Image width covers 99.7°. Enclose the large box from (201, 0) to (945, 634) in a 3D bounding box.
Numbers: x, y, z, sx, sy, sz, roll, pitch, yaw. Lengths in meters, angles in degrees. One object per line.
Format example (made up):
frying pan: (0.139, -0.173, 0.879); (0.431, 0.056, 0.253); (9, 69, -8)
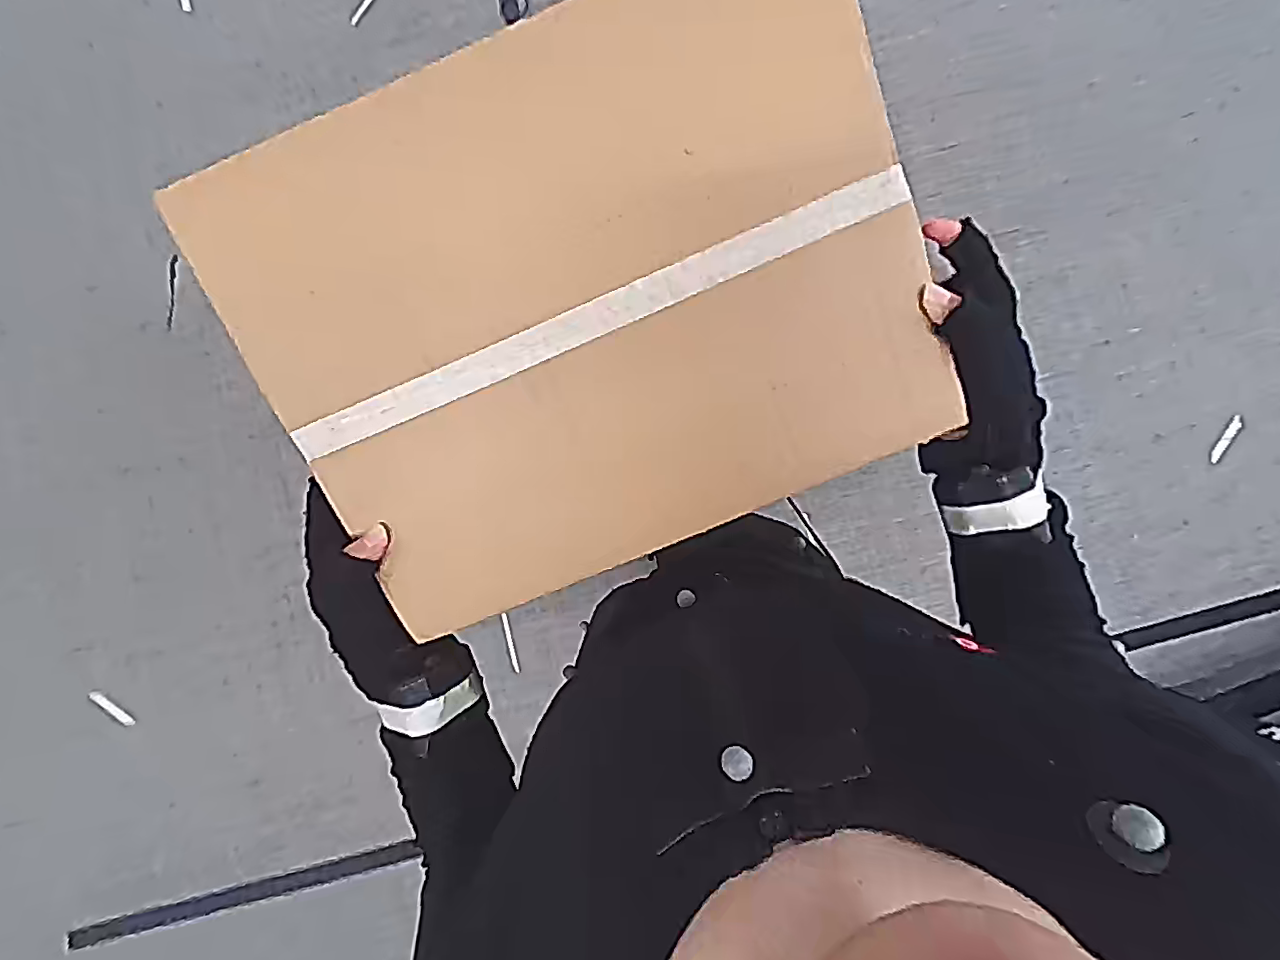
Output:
large box: (-0.031, -0.133, 0.490); (0.408, 0.320, 0.320); (-22, 103, 3)
